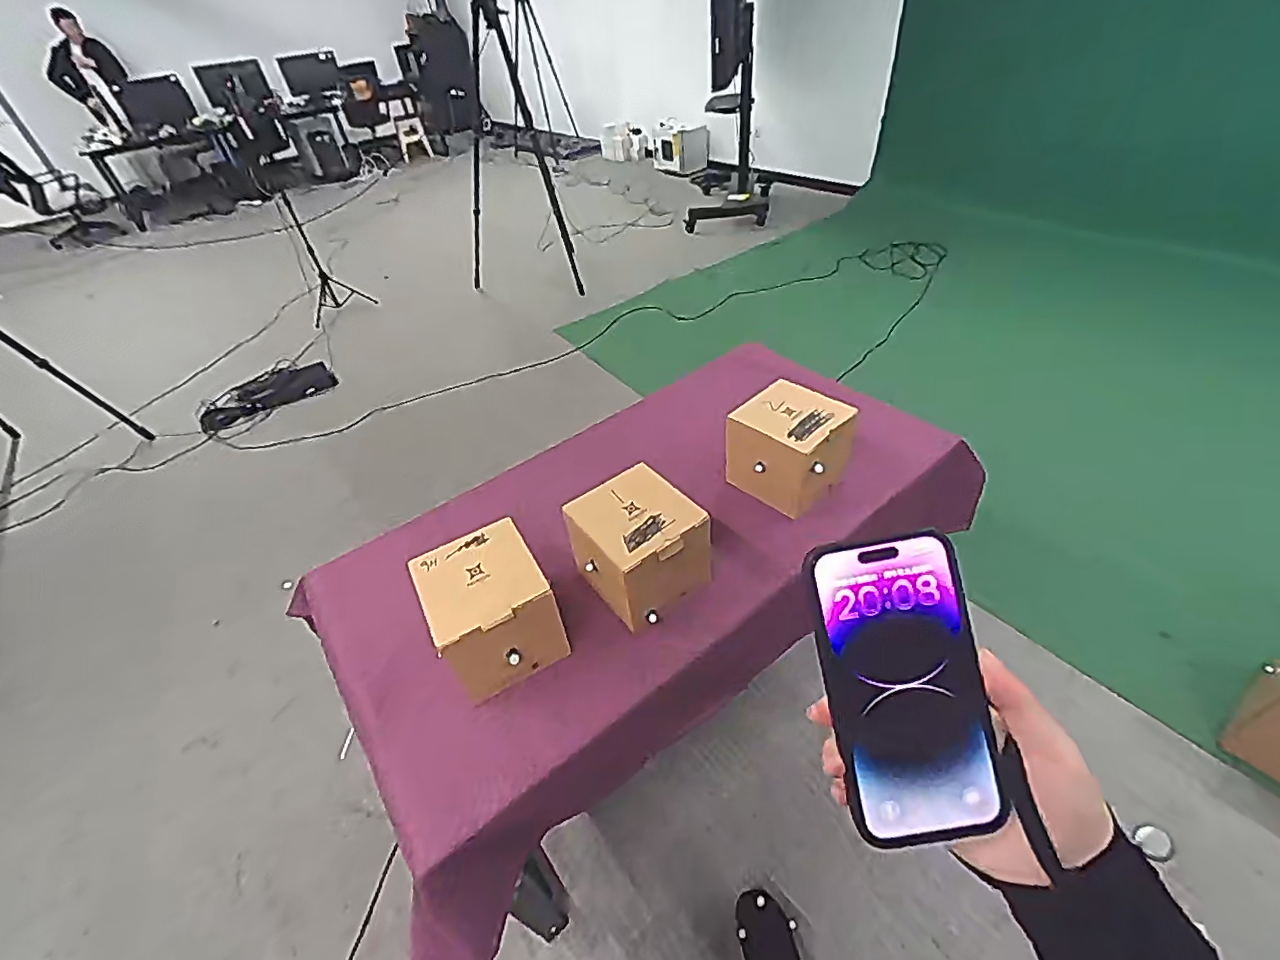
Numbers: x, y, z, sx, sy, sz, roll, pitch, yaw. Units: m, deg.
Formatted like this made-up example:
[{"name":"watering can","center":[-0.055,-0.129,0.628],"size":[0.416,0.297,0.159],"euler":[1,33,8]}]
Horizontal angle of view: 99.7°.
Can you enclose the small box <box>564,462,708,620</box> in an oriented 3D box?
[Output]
[{"name":"small box","center":[0.000,0.106,0.897],"size":[0.168,0.176,0.179],"euler":[-30,46,-23]}]

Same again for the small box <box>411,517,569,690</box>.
[{"name":"small box","center":[-0.224,0.195,0.834],"size":[0.168,0.176,0.179],"euler":[-25,46,-18]}]
